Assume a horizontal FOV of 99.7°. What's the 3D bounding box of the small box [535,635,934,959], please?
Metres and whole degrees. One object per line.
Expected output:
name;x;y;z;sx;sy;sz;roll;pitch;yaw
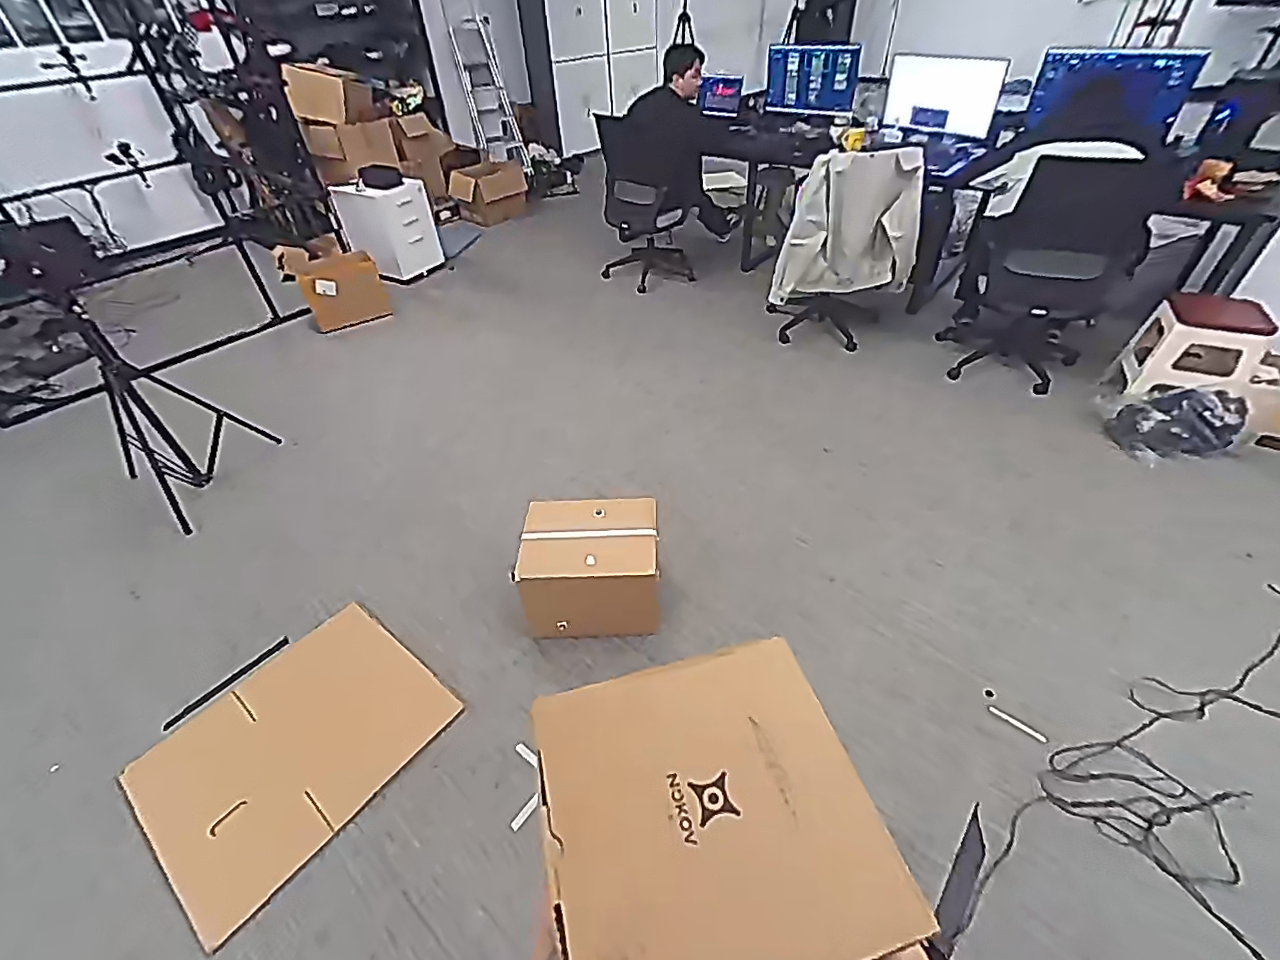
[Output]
small box;0.039;0.233;0.351;0.179;0.176;0.168;-11;44;-12
